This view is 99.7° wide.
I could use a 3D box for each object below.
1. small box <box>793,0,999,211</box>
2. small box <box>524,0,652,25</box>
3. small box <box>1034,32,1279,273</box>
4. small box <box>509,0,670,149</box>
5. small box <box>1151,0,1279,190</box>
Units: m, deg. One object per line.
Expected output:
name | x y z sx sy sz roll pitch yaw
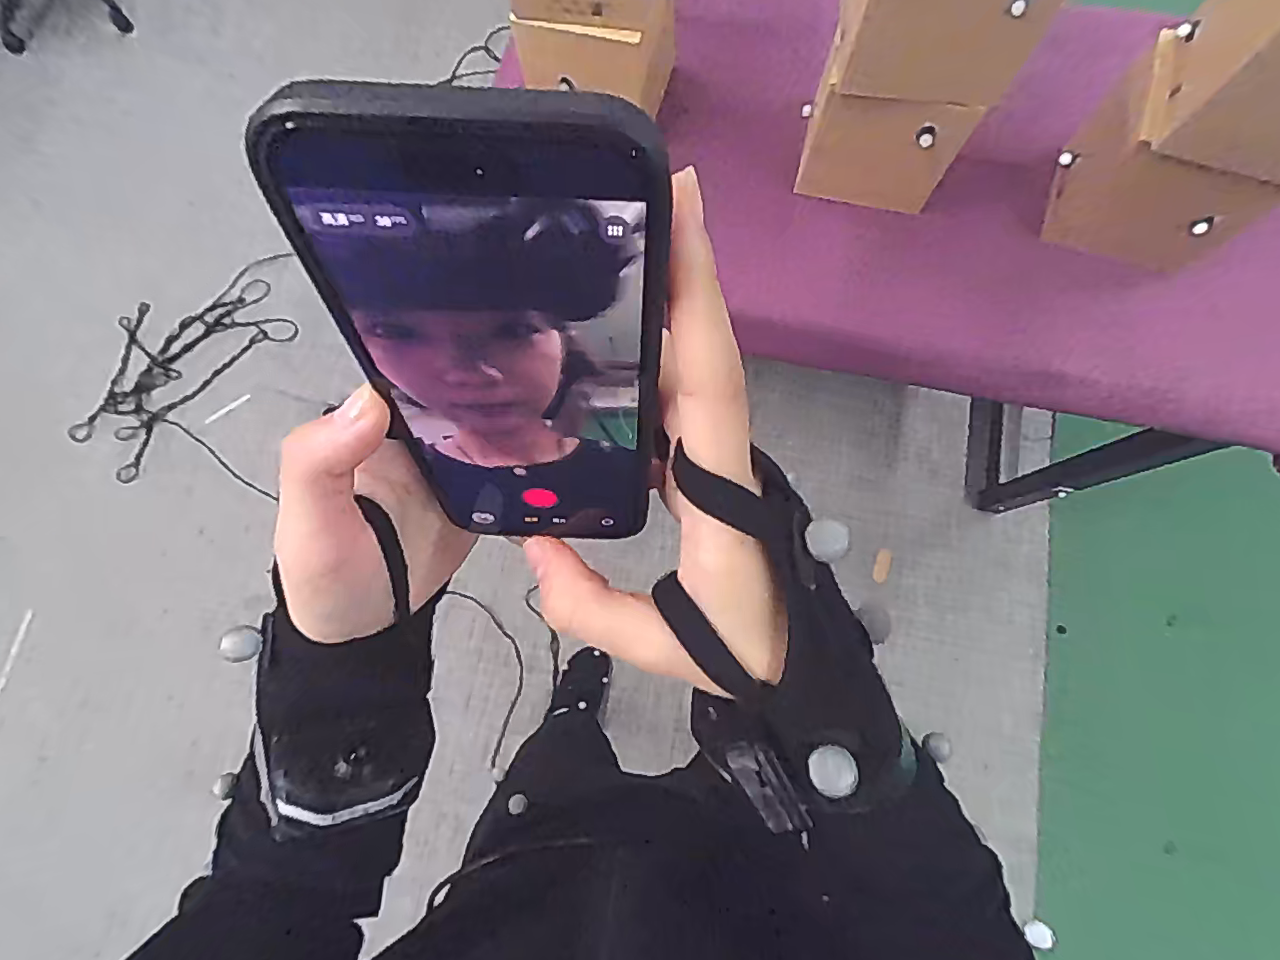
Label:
small box | 0.316 -0.481 0.697 0.179 0.176 0.168 14 78 6
small box | -0.059 -0.643 0.582 0.168 0.176 0.179 10 78 4
small box | 0.640 -0.384 0.663 0.179 0.176 0.168 21 78 7
small box | -0.055 -0.597 0.740 0.168 0.176 0.179 15 78 6
small box | 0.639 -0.405 0.500 0.179 0.176 0.168 20 78 6
